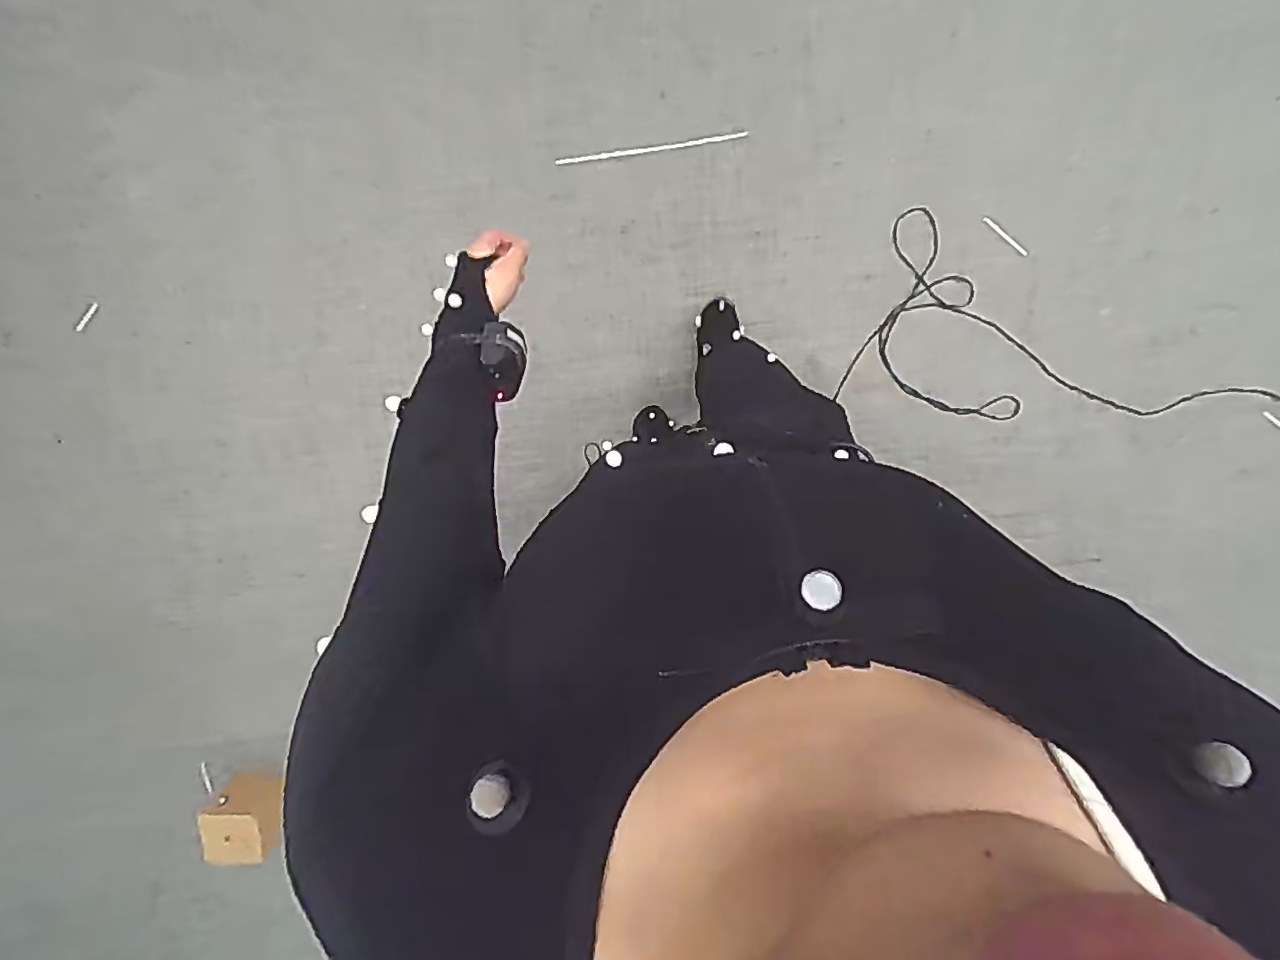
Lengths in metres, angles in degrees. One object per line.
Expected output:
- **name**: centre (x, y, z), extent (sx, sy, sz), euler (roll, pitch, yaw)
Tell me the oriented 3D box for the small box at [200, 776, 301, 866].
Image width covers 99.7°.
- **small box**: centre (-1.170, 1.023, 1.635), extent (0.179, 0.176, 0.168), euler (-1, 101, 2)
